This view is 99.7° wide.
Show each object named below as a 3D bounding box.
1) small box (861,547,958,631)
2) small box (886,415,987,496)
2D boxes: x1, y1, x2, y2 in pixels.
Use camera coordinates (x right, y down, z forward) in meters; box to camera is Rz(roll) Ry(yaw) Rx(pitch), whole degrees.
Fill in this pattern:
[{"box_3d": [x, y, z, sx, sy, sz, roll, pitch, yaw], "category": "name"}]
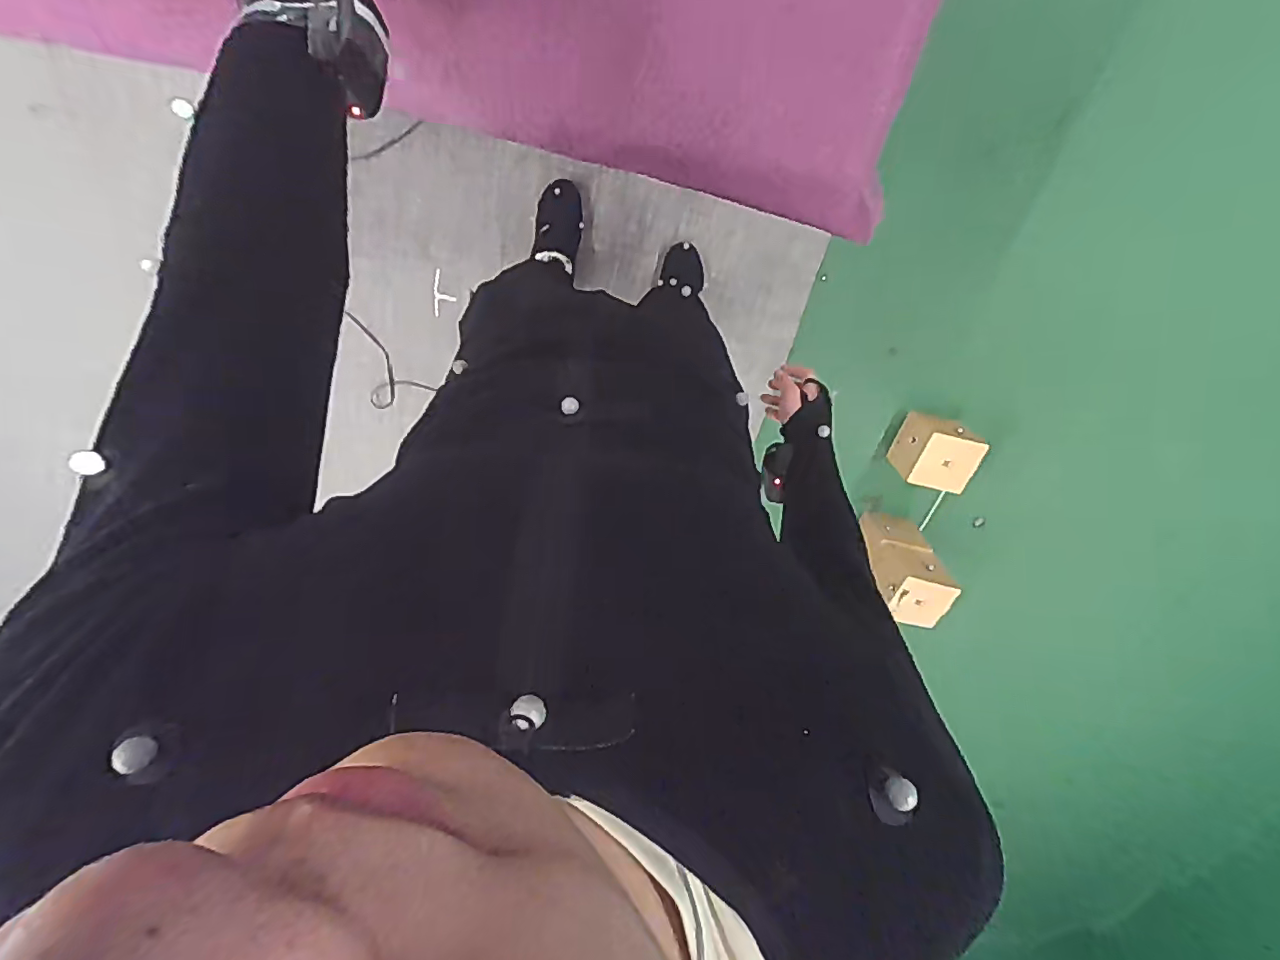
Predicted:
[{"box_3d": [0.812, 0.327, 1.646, 0.179, 0.176, 0.168, 14, 119, -7], "category": "small box"}, {"box_3d": [0.865, -0.078, 1.604, 0.179, 0.176, 0.168, 12, 119, -6], "category": "small box"}]
